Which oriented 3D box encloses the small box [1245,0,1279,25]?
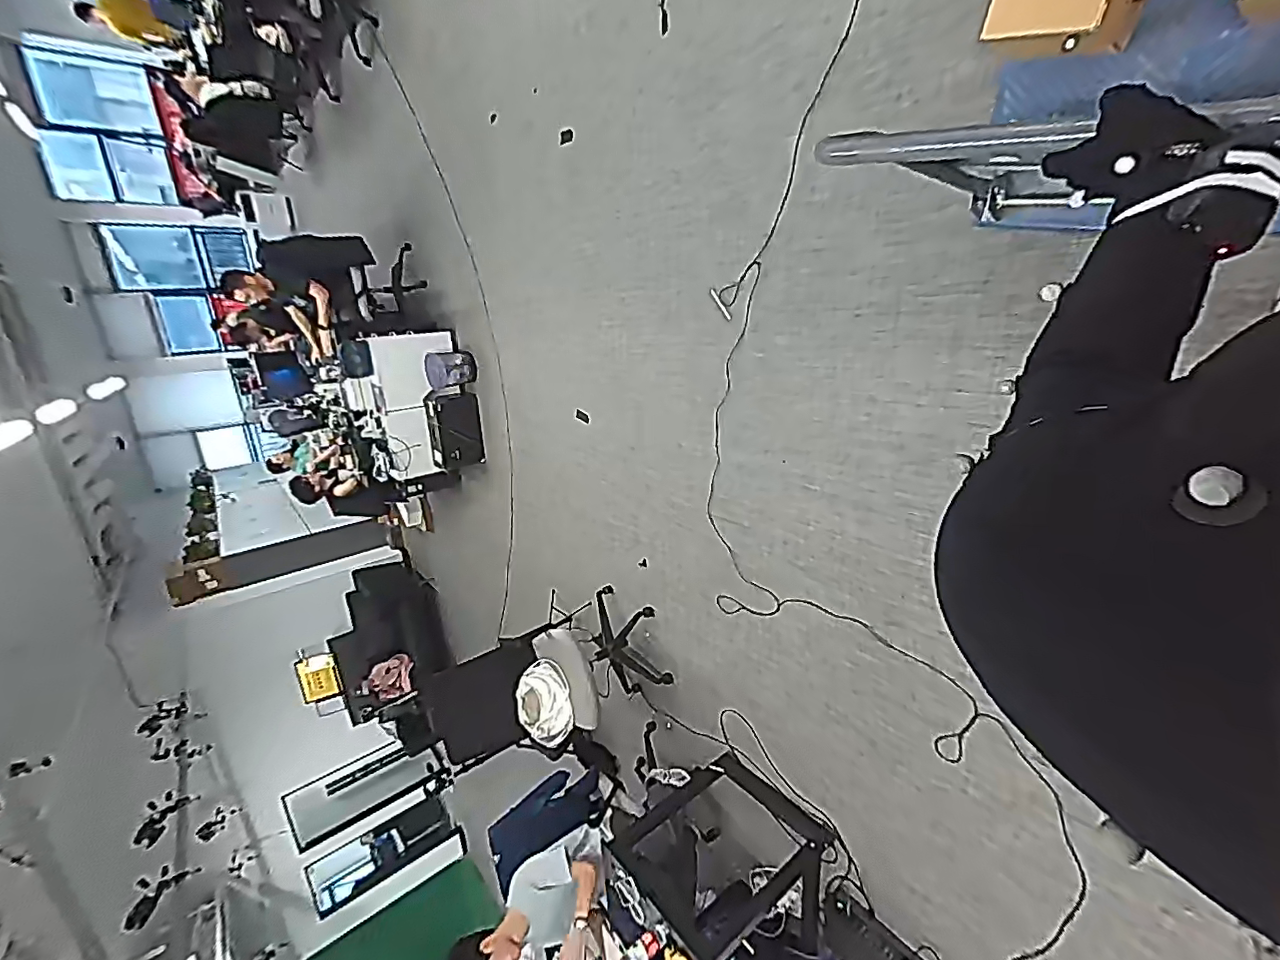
[{"bbox_3d":[0.906,-0.710,0.674,0.179,0.176,0.168,24,122,46],"label":"small box"}]

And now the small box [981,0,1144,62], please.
[{"bbox_3d":[0.712,-0.812,0.890,0.179,0.176,0.168,33,128,40],"label":"small box"}]
